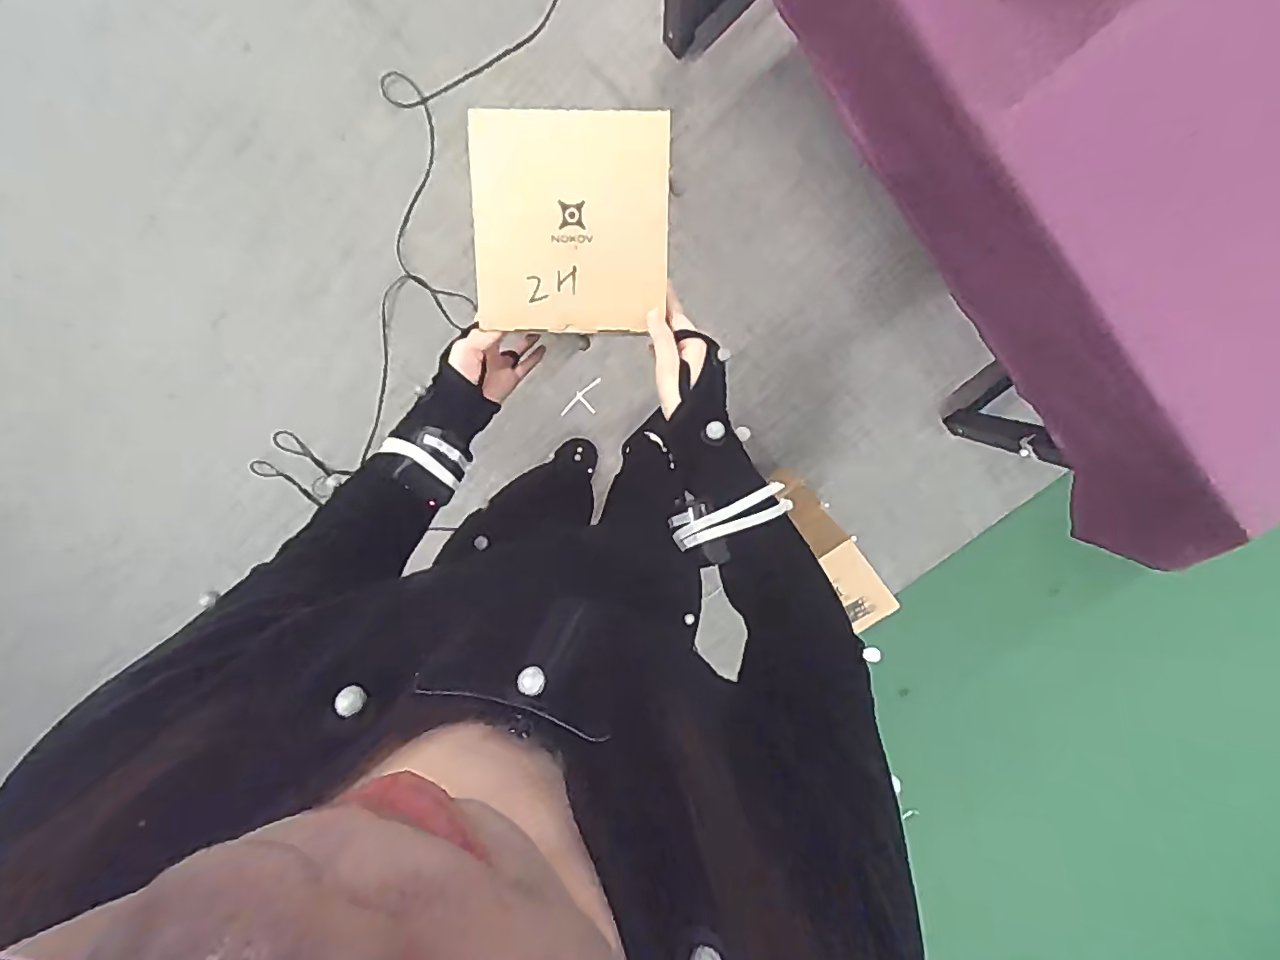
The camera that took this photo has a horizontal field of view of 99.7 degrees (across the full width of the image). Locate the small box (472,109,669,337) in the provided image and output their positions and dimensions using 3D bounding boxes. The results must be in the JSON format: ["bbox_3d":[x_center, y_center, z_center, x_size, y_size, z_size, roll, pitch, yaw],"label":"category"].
[{"bbox_3d":[-0.060,-0.237,0.541,0.168,0.176,0.179,1,104,0],"label":"small box"}]

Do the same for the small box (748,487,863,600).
[{"bbox_3d":[0.369,0.134,1.243,0.168,0.176,0.179,-38,102,11],"label":"small box"}]

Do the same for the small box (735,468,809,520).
[{"bbox_3d":[0.366,0.084,1.398,0.168,0.176,0.179,-36,102,9],"label":"small box"}]
